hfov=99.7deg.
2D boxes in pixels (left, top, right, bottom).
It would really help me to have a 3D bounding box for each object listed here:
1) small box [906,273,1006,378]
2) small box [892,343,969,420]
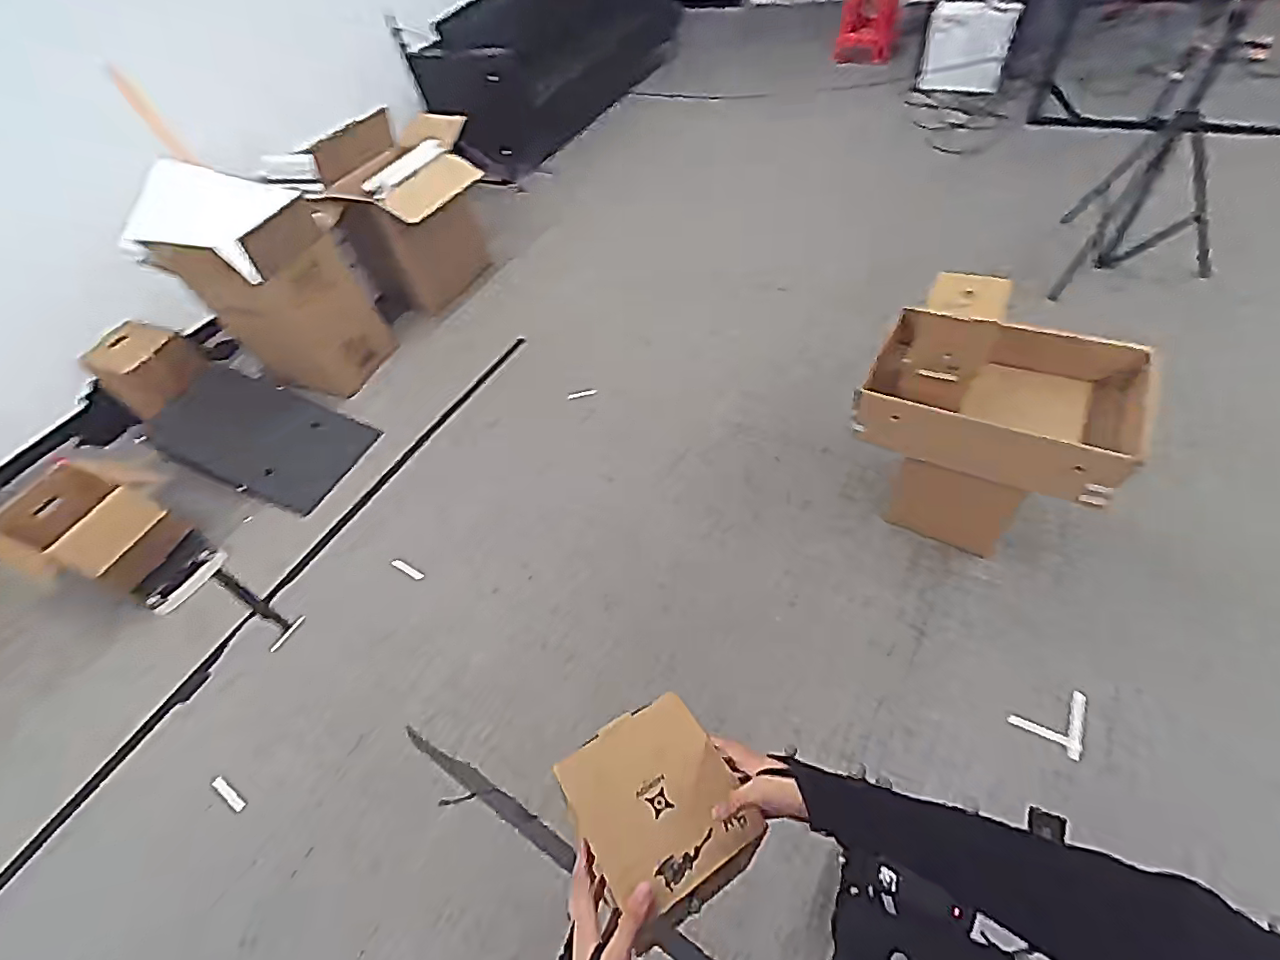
[{"bbox_3d":[0.779,-0.384,1.346,0.168,0.176,0.179,18,59,25],"label":"small box"},{"bbox_3d":[0.804,-0.290,1.479,0.168,0.176,0.179,19,58,25],"label":"small box"}]
